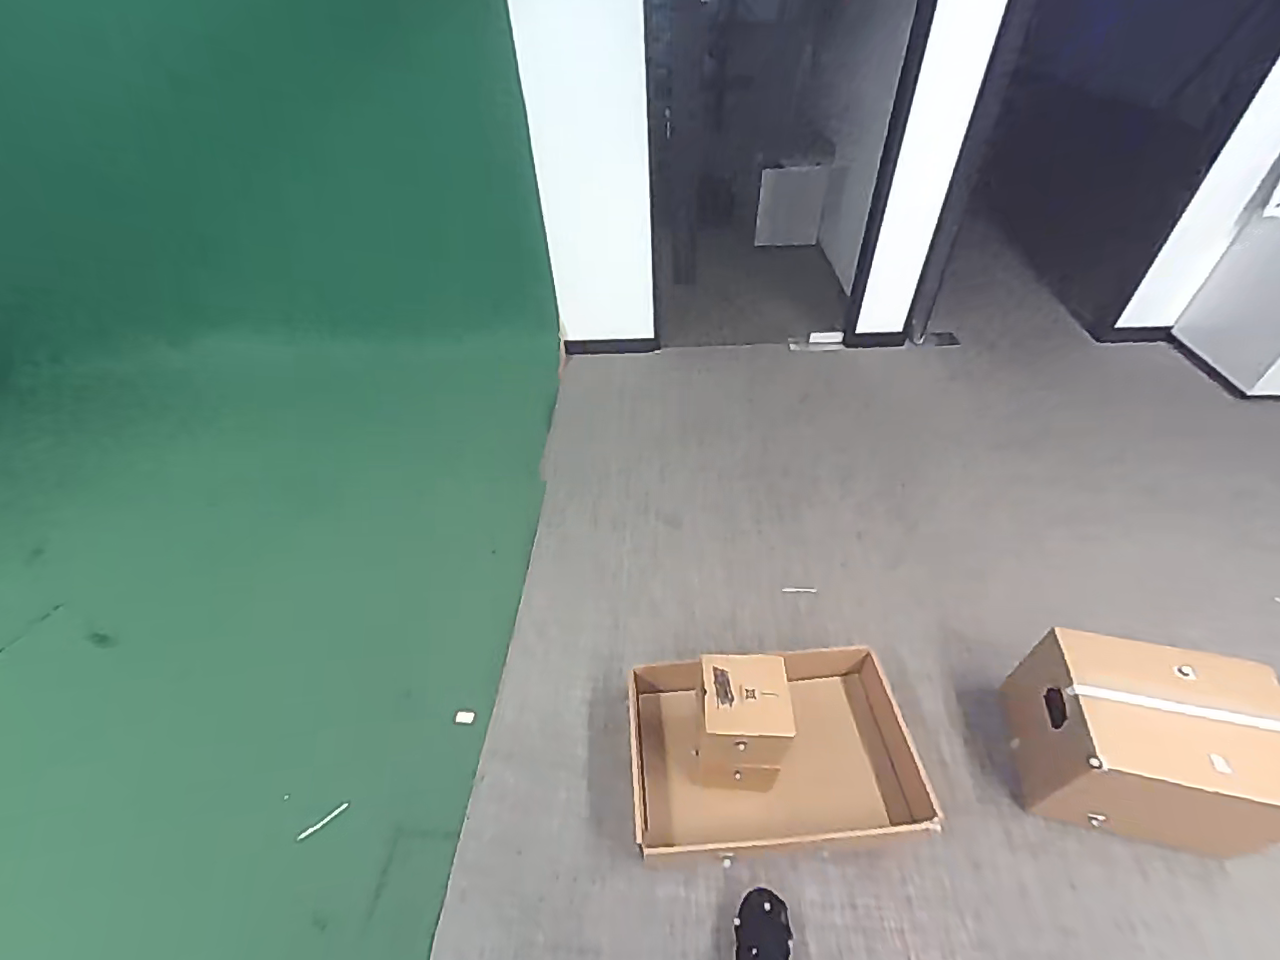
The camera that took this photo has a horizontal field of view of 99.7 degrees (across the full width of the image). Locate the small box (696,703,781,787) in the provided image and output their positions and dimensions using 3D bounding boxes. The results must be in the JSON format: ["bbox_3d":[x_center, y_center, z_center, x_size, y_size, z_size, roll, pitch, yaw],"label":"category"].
[{"bbox_3d":[0.221,0.605,1.270,0.179,0.176,0.168,2,45,2],"label":"small box"}]

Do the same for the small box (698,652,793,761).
[{"bbox_3d":[0.215,0.487,1.156,0.179,0.176,0.168,2,45,2],"label":"small box"}]
